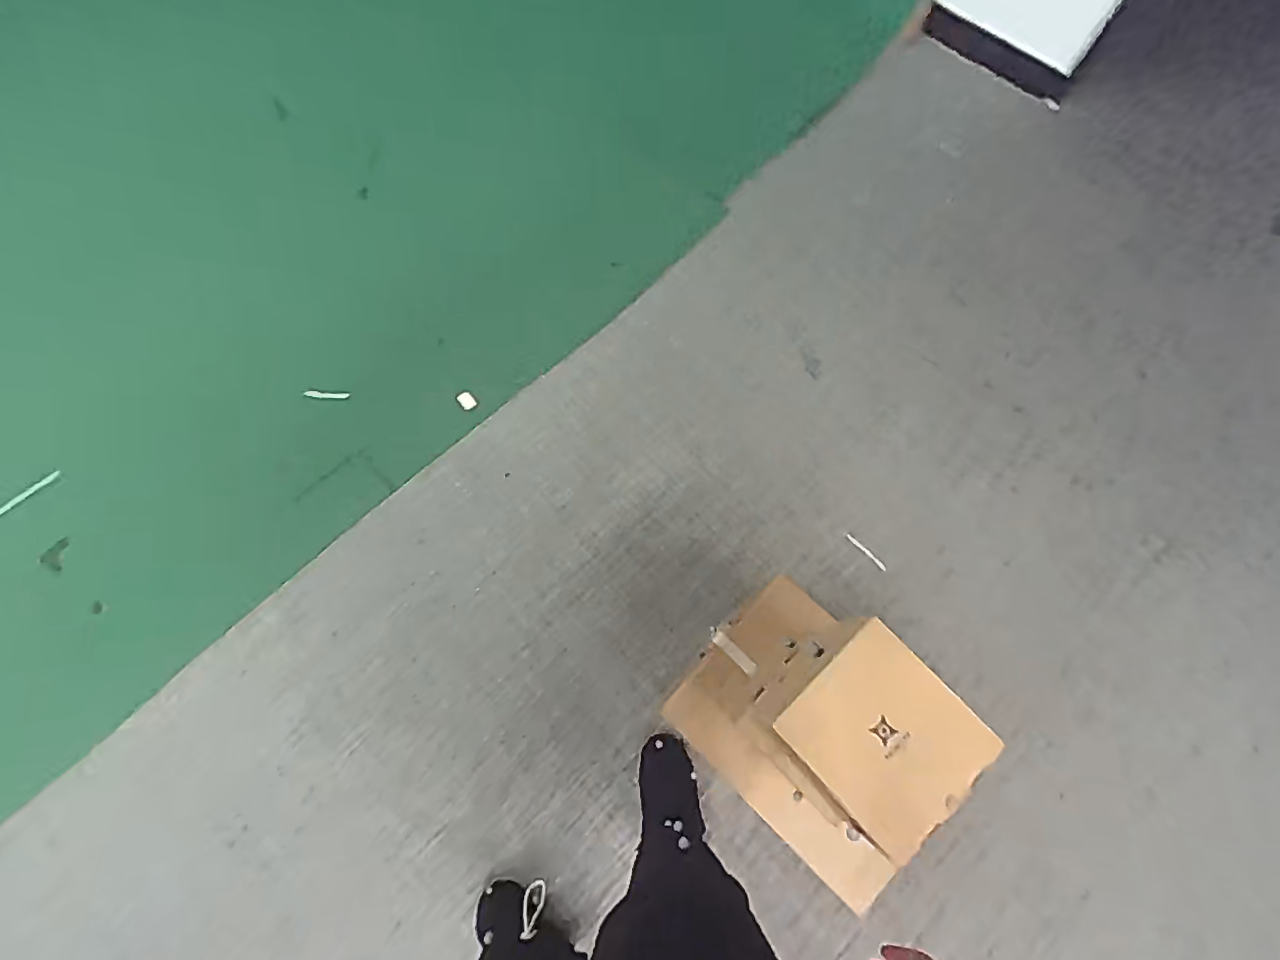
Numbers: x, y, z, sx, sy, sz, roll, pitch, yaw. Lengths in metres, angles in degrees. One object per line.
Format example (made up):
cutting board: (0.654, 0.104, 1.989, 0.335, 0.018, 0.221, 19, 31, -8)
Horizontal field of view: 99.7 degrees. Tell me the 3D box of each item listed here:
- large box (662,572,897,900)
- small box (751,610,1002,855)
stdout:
large box: (0.288, 0.431, 1.008, 0.408, 0.320, 0.320, 42, 80, 12)
small box: (0.254, 0.277, 0.631, 0.168, 0.176, 0.179, -41, 77, -10)
